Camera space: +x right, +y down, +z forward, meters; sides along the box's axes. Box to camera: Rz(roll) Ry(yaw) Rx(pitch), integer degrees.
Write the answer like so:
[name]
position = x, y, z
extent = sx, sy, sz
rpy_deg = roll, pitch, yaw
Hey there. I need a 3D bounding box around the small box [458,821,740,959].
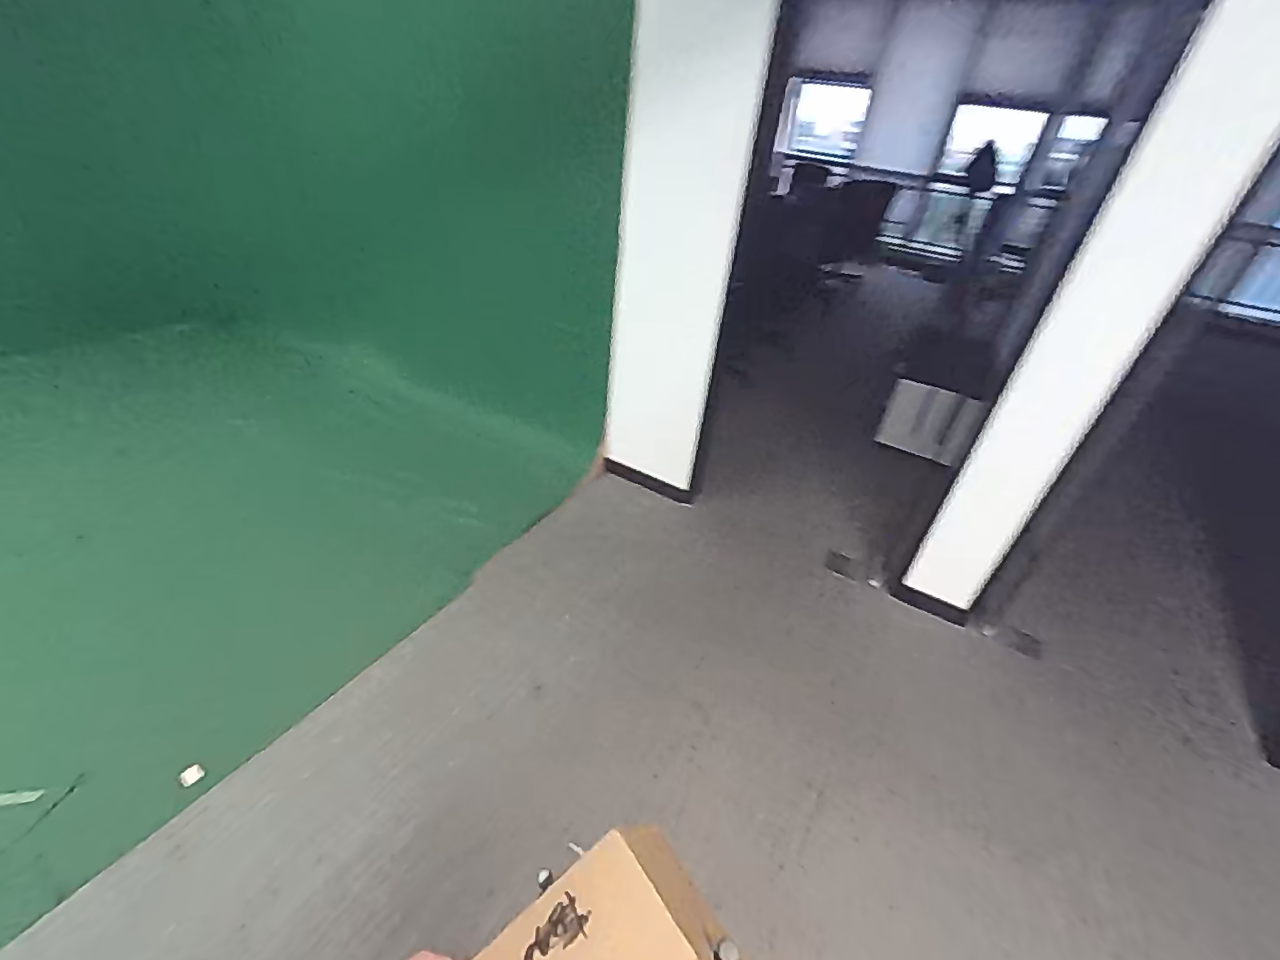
[small box]
position = -0.022, 0.381, 0.390
extent = 0.168, 0.176, 0.179
rpy_deg = -39, 61, -12
